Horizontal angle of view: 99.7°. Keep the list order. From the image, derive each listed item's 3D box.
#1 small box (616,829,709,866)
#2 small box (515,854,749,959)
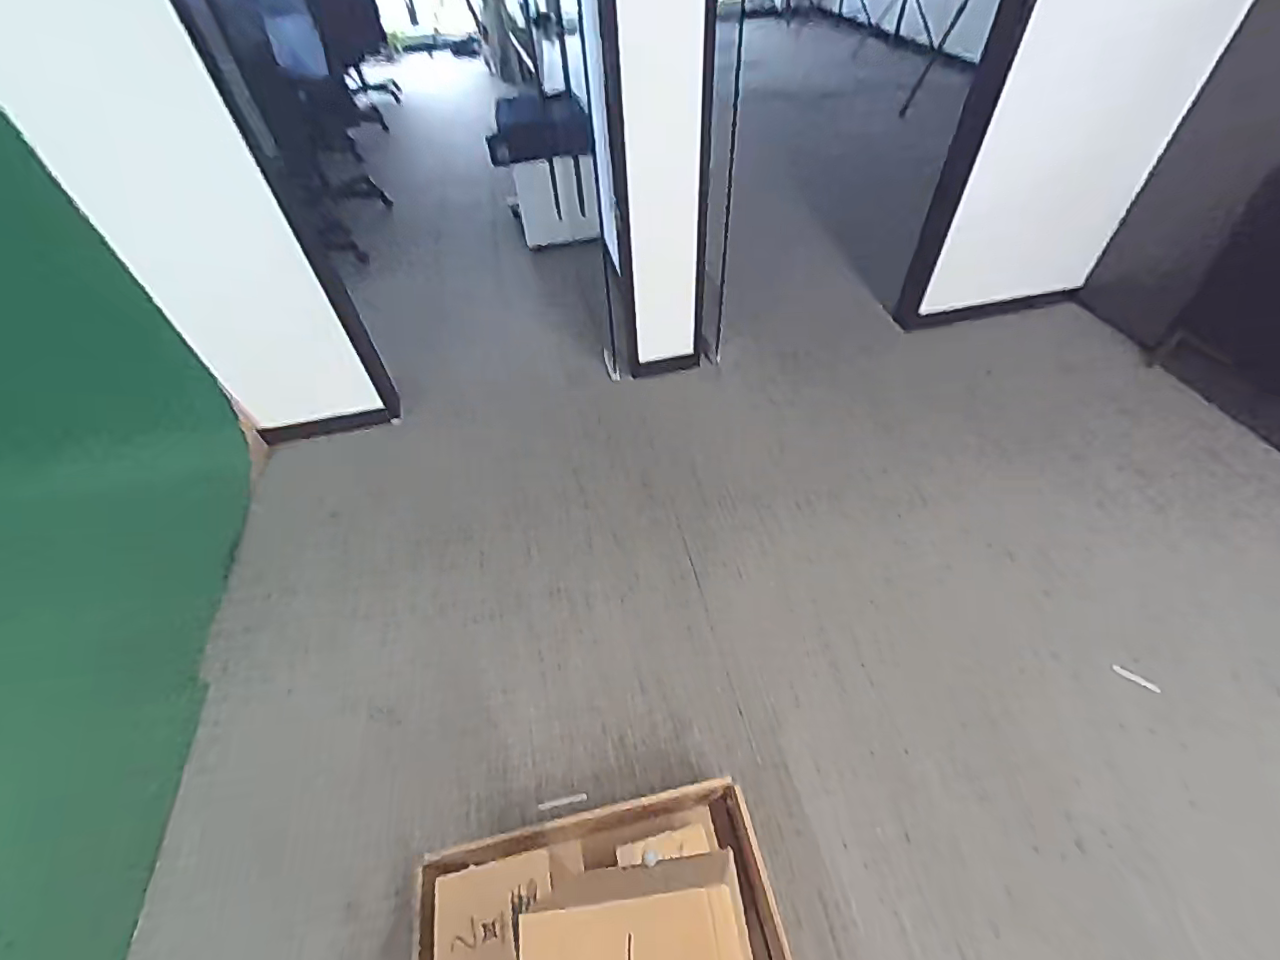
[{"bbox_3d":[0.057,0.765,0.983,0.168,0.176,0.179,-11,50,-6],"label":"small box"},{"bbox_3d":[0.008,0.427,0.435,0.168,0.176,0.179,-11,61,4],"label":"small box"}]
